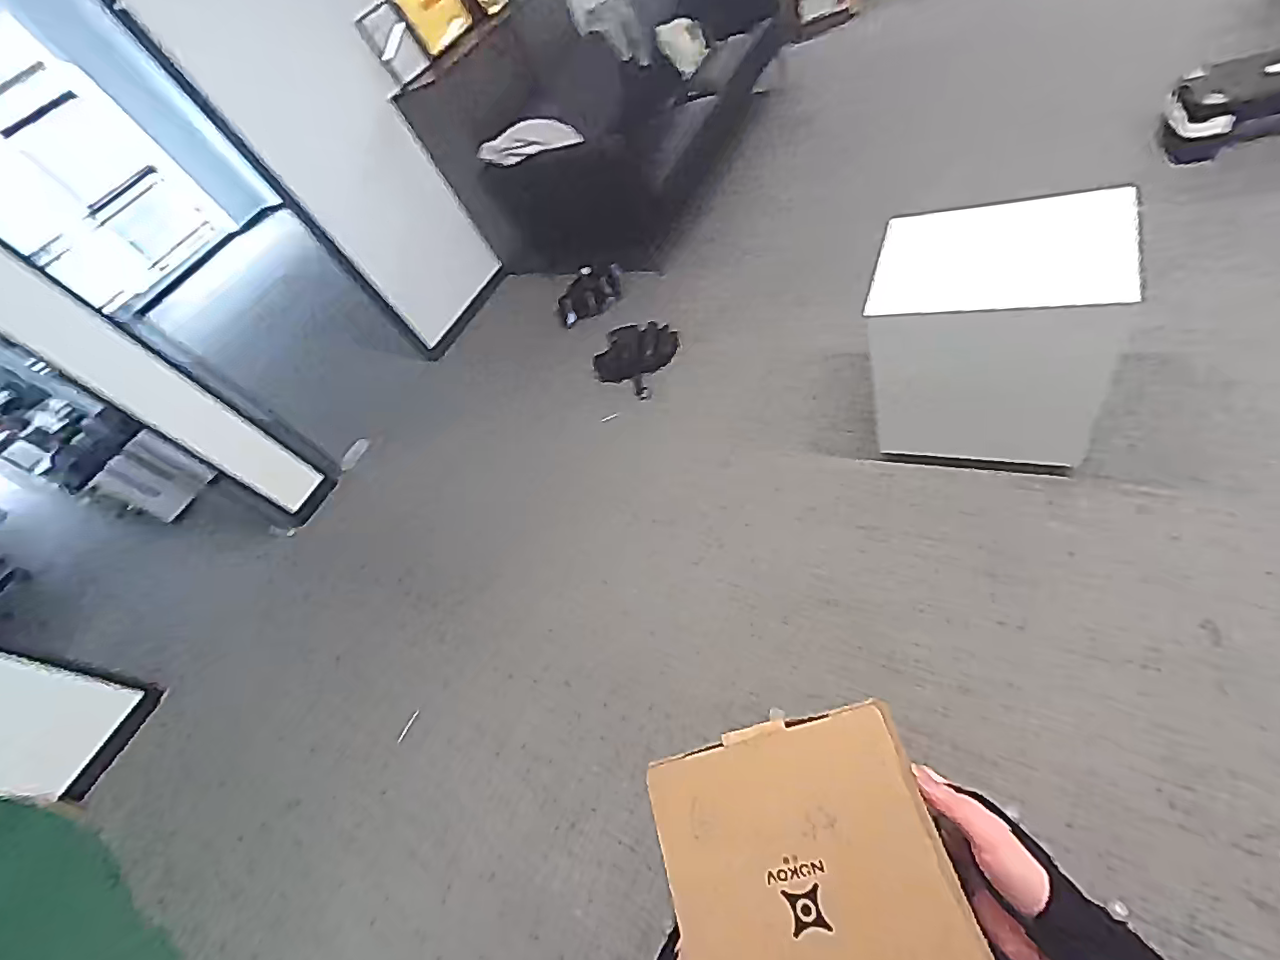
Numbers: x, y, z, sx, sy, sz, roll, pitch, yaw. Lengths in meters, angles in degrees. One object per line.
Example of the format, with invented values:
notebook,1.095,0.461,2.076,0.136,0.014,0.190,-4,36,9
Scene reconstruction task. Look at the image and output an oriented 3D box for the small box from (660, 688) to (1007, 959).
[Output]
small box,0.136,0.265,0.388,0.168,0.176,0.179,-24,60,15
